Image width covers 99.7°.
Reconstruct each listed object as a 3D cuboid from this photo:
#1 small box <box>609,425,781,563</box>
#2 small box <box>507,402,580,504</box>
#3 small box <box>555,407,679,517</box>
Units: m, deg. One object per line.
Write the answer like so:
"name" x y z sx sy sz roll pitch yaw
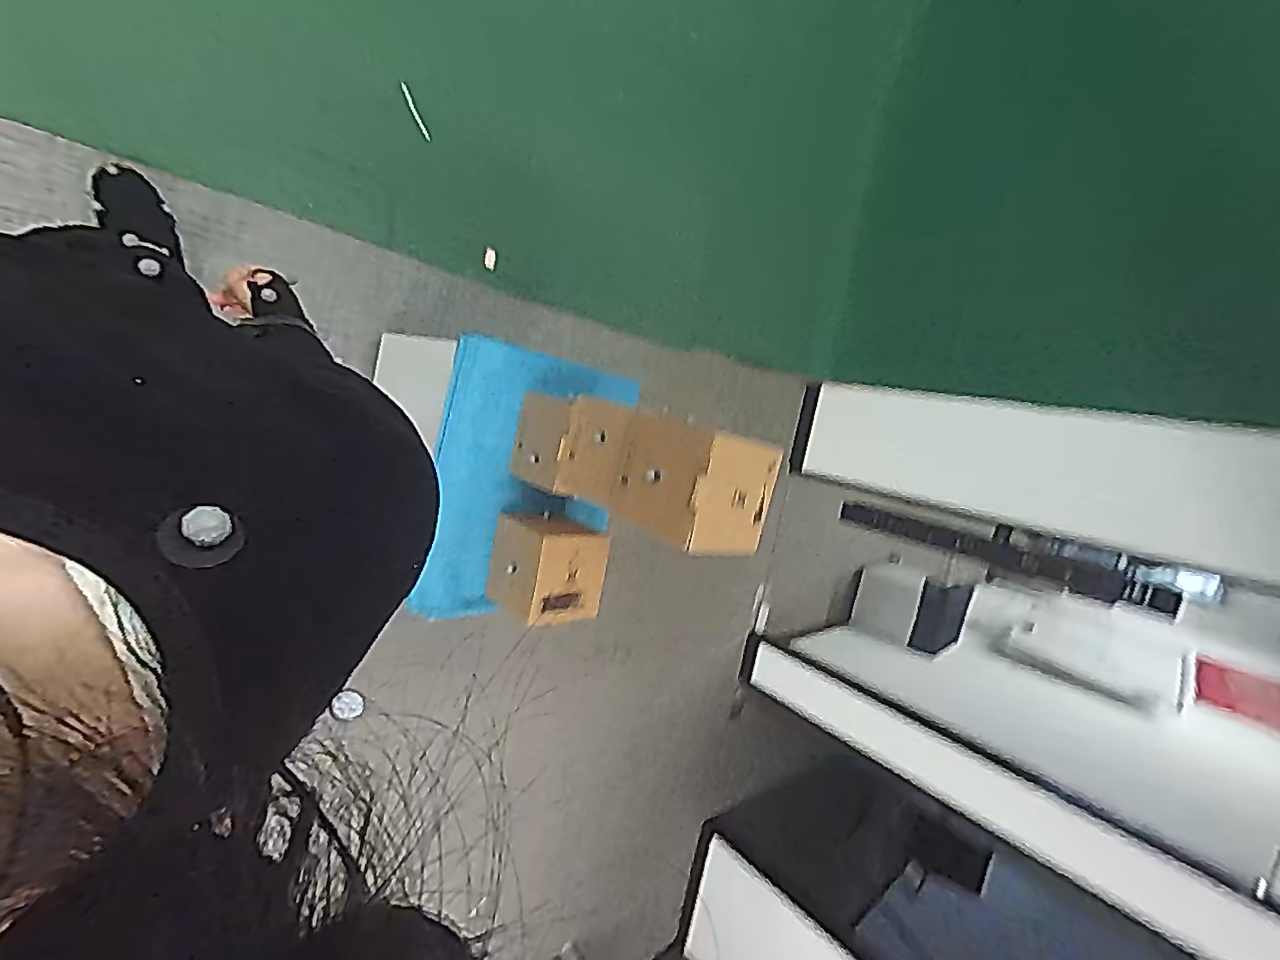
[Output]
"small box" 0.080 0.019 0.822 0.179 0.176 0.168 11 96 -45
"small box" -0.134 -0.050 1.058 0.179 0.176 0.168 9 98 -46
"small box" -0.022 -0.024 0.944 0.179 0.176 0.168 11 96 -46
